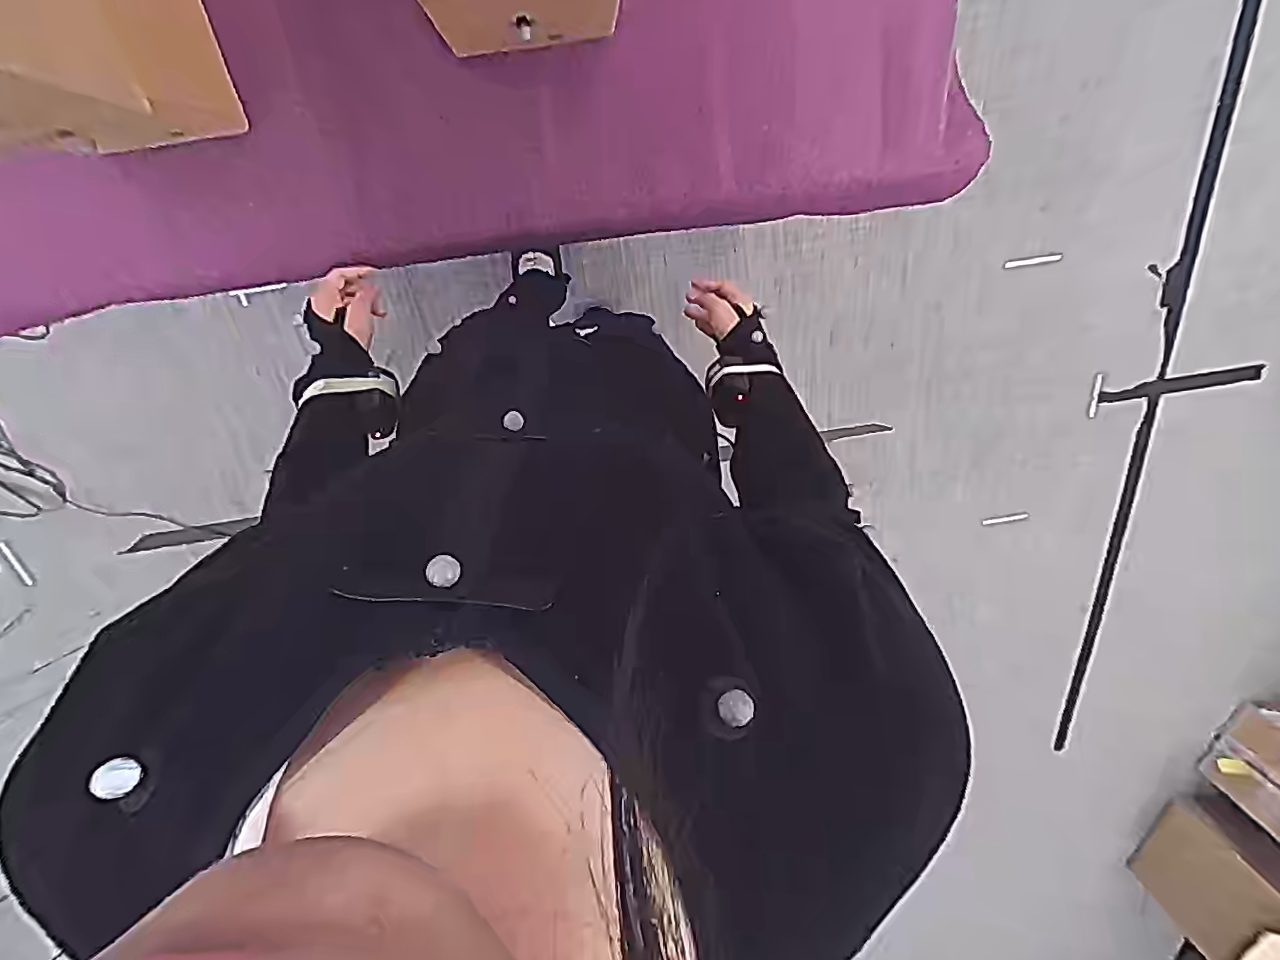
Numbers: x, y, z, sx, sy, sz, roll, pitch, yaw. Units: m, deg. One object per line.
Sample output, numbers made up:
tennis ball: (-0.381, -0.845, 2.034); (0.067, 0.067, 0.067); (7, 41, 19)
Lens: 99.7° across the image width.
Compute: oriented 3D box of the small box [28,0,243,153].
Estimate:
small box: (-0.491, -0.391, 0.458); (0.168, 0.176, 0.179); (-10, 115, -2)

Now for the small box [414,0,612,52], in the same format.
small box: (-0.113, -0.490, 0.454); (0.168, 0.176, 0.179); (-10, 115, -3)

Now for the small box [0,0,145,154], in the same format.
small box: (-0.467, -0.305, 0.319); (0.168, 0.176, 0.179); (-15, 115, 0)
